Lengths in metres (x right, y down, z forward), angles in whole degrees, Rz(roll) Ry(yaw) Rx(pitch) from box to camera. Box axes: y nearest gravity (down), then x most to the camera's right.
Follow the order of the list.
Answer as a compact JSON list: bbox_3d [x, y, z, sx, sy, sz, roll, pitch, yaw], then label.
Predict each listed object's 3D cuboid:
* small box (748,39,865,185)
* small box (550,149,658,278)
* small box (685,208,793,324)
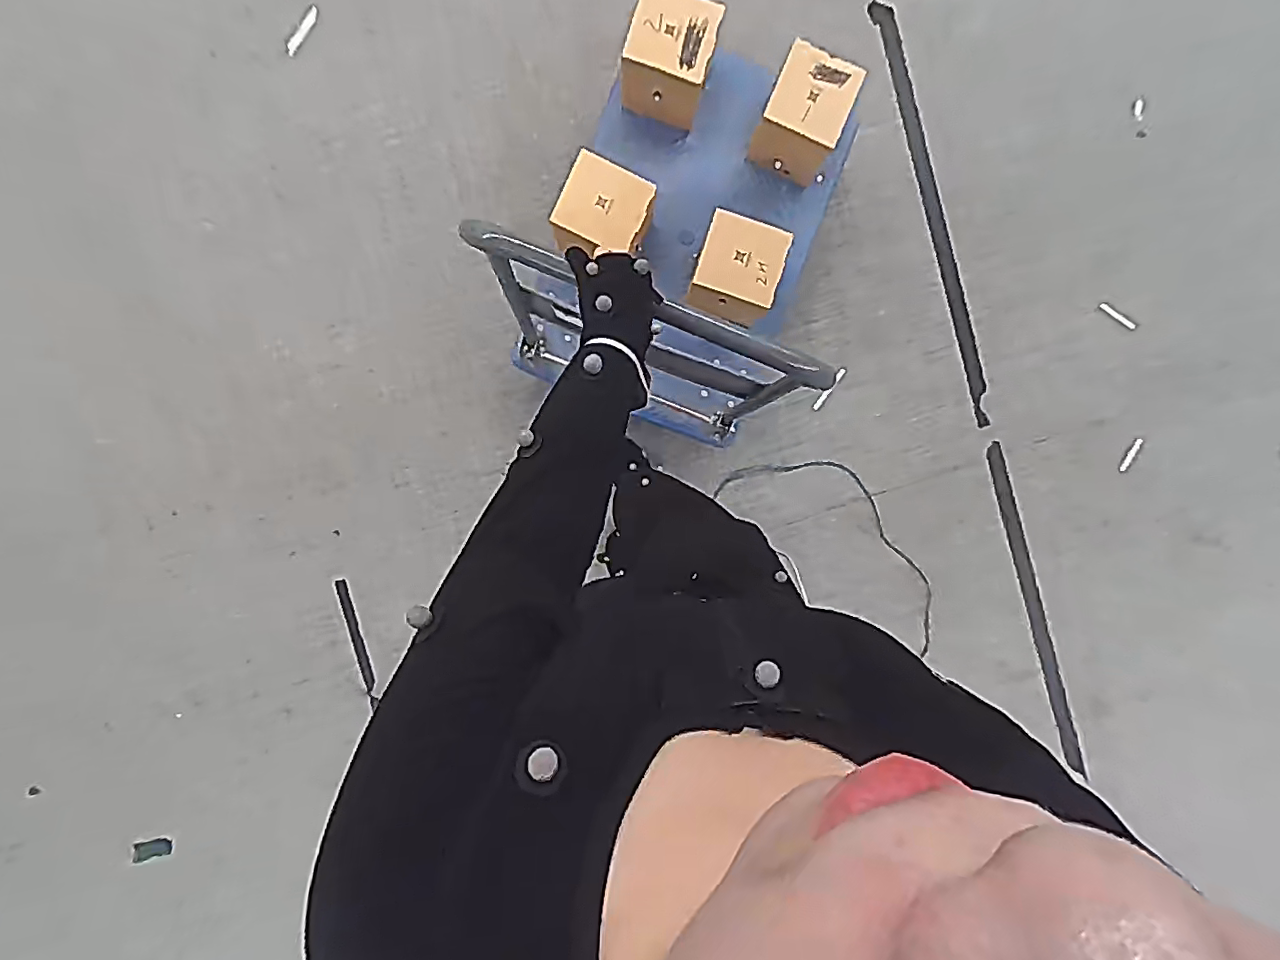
[{"bbox_3d":[0.359,-0.804,1.200,0.168,0.176,0.179,23,92,-3],"label":"small box"},{"bbox_3d":[-0.079,-0.573,1.191,0.179,0.176,0.168,24,91,-5],"label":"small box"},{"bbox_3d":[0.211,-0.465,1.208,0.179,0.176,0.168,18,92,-3],"label":"small box"}]
